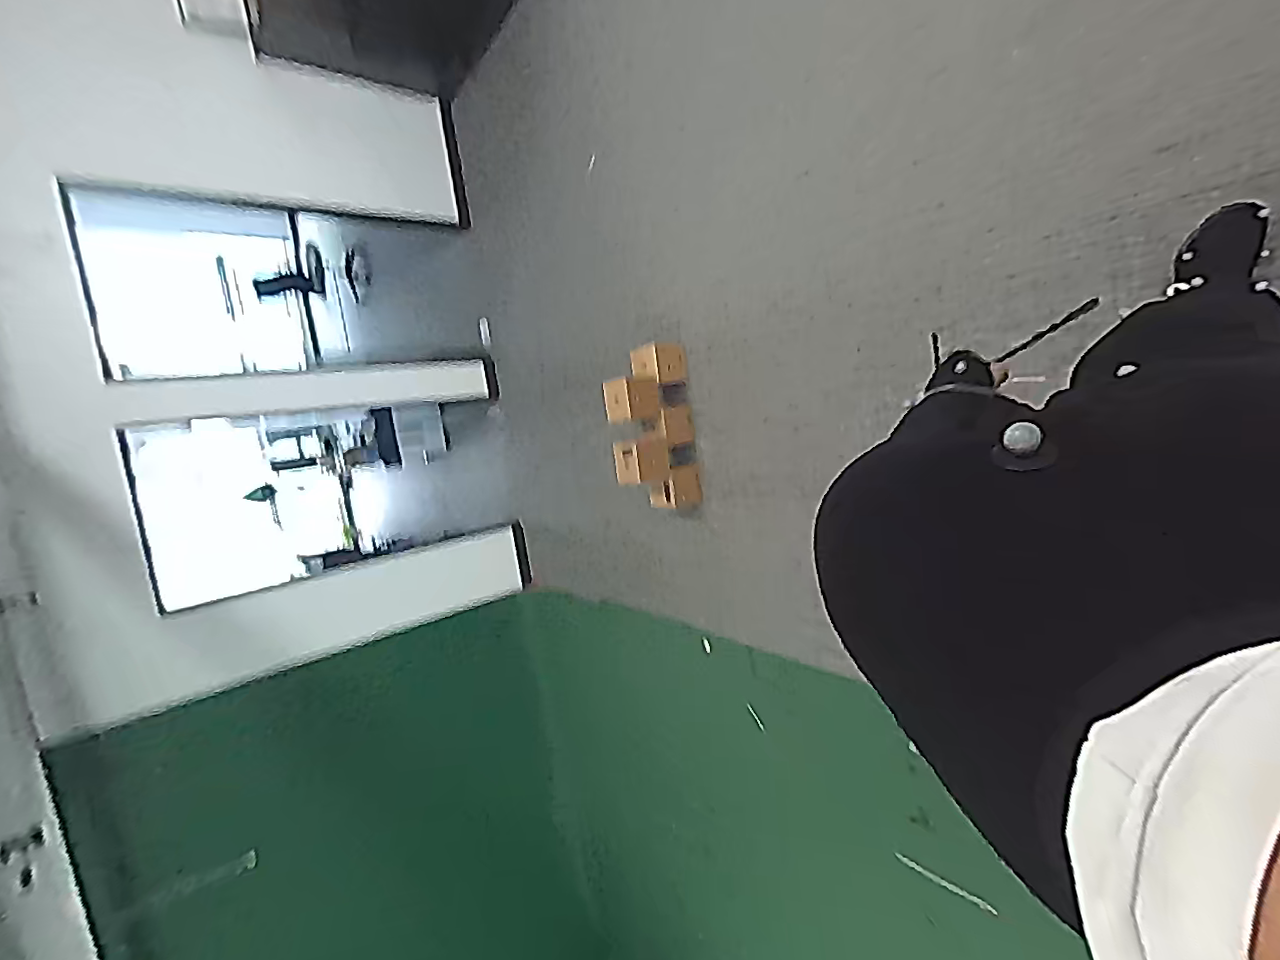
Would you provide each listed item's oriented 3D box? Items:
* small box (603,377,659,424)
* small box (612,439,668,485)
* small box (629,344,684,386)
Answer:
[{"bbox_3d":[-0.036,-0.340,2.291,0.168,0.176,0.179,-3,95,52],"label":"small box"},{"bbox_3d":[0.003,-0.083,2.308,0.168,0.176,0.179,3,103,52],"label":"small box"},{"bbox_3d":[0.078,-0.499,2.372,0.179,0.176,0.168,0,100,52],"label":"small box"}]
